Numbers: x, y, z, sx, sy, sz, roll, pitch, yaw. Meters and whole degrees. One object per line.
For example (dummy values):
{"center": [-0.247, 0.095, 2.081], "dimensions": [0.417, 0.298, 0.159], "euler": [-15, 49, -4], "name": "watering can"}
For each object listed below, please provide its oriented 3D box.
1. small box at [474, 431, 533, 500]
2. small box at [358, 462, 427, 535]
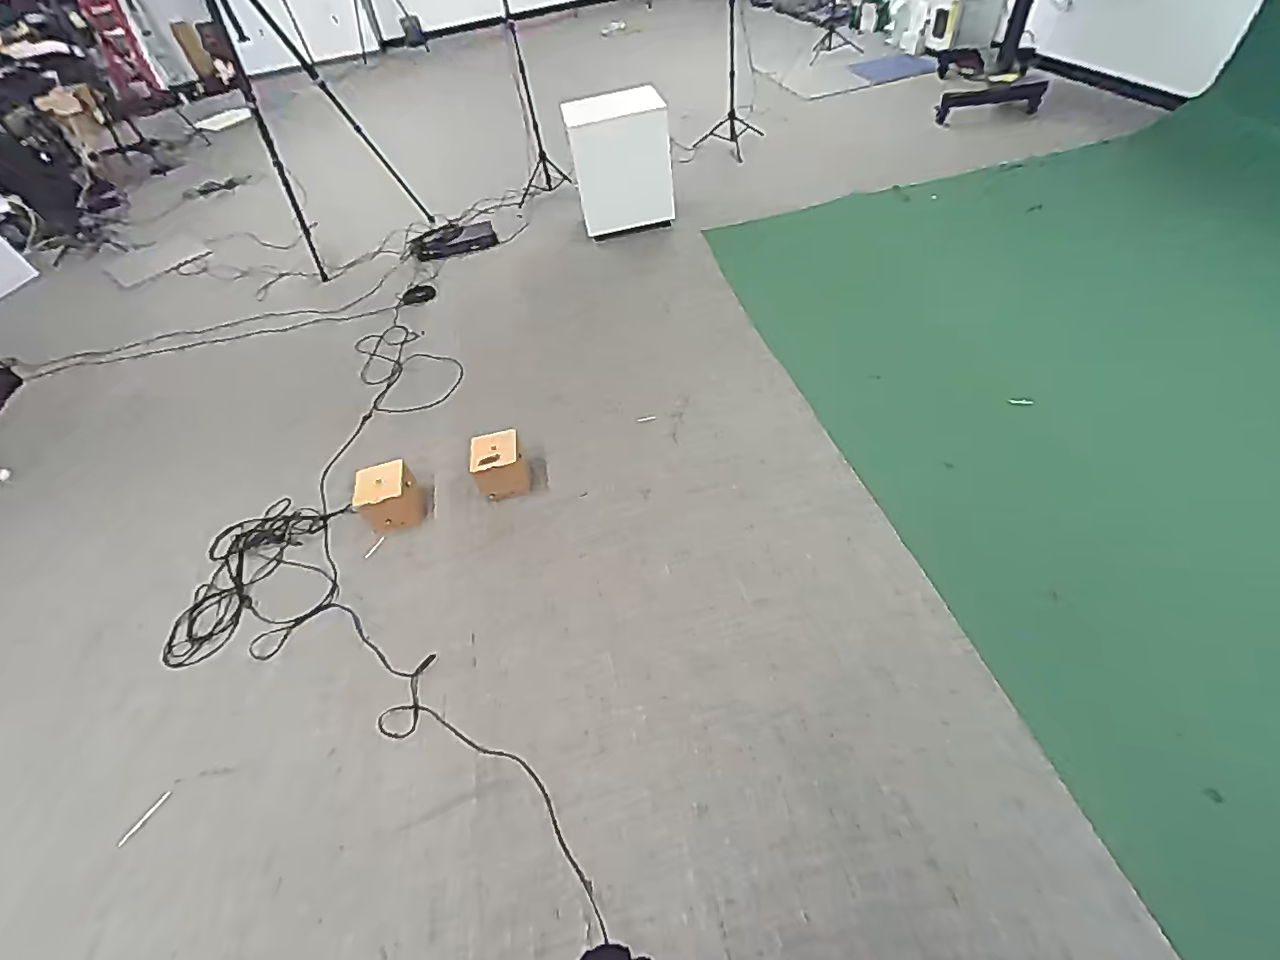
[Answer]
{"center": [-0.492, -0.045, 1.964], "dimensions": [0.168, 0.176, 0.179], "euler": [-12, 49, 0], "name": "small box"}
{"center": [-0.879, 0.067, 1.936], "dimensions": [0.168, 0.176, 0.179], "euler": [-16, 50, -4], "name": "small box"}
